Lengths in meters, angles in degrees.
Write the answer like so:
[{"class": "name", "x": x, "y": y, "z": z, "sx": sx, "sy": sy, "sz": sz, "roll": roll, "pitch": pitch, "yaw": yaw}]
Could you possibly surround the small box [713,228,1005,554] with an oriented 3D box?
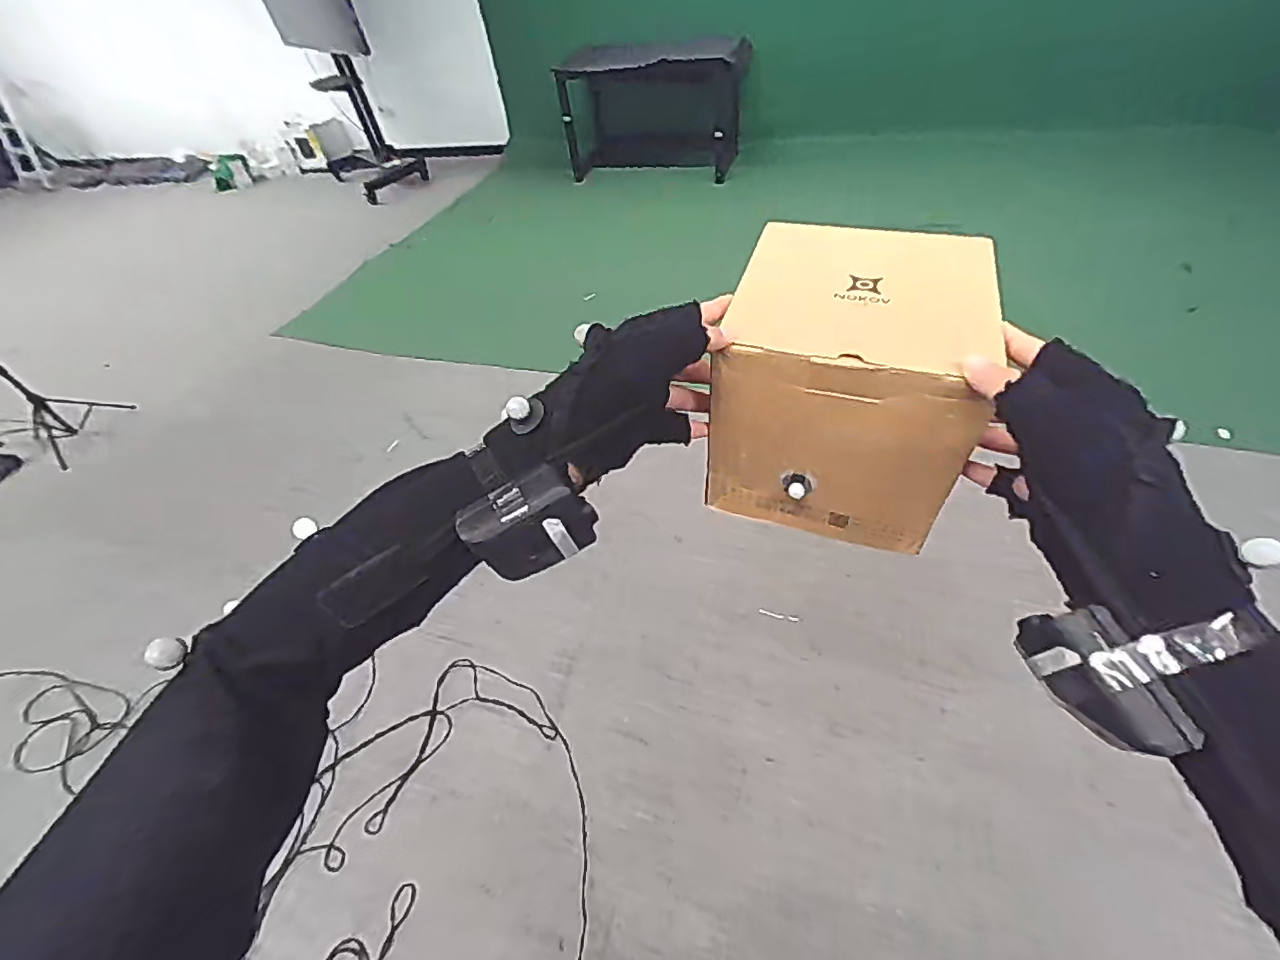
[{"class": "small box", "x": 0.158, "y": -0.073, "z": 0.430, "sx": 0.168, "sy": 0.176, "sz": 0.179, "roll": 13, "pitch": 51, "yaw": 16}]
